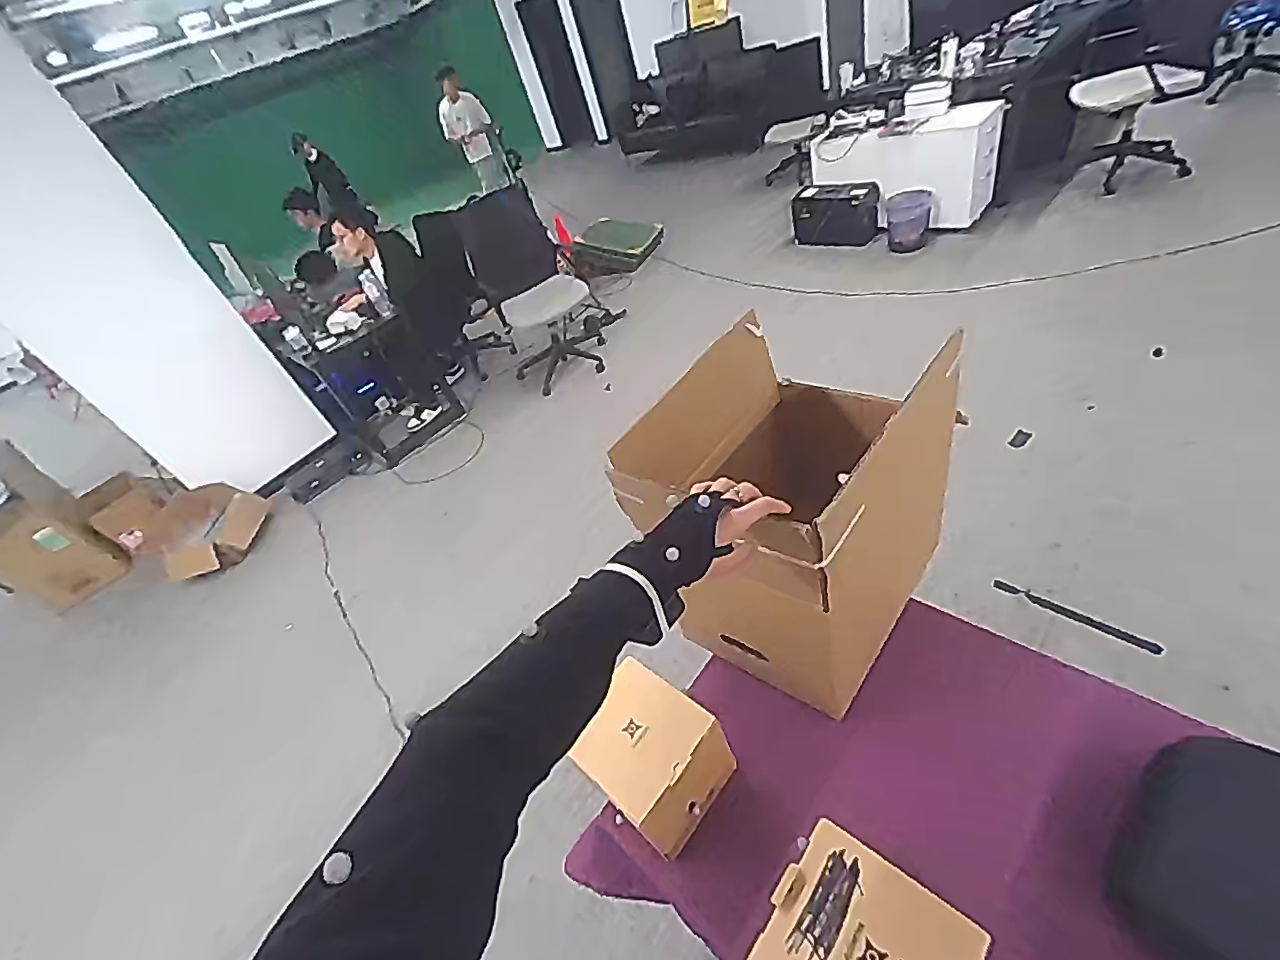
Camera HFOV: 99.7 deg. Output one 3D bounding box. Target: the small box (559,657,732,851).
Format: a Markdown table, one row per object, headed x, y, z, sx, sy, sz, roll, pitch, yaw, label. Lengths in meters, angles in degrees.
| x | y | z | sx | sy | sz | roll | pitch | yaw | label |
| --- | --- | --- | --- | --- | --- | --- | --- | --- | --- |
| 0.015 | 0.409 | 0.808 | 0.179 | 0.176 | 0.168 | 24 | 57 | 39 | small box |
